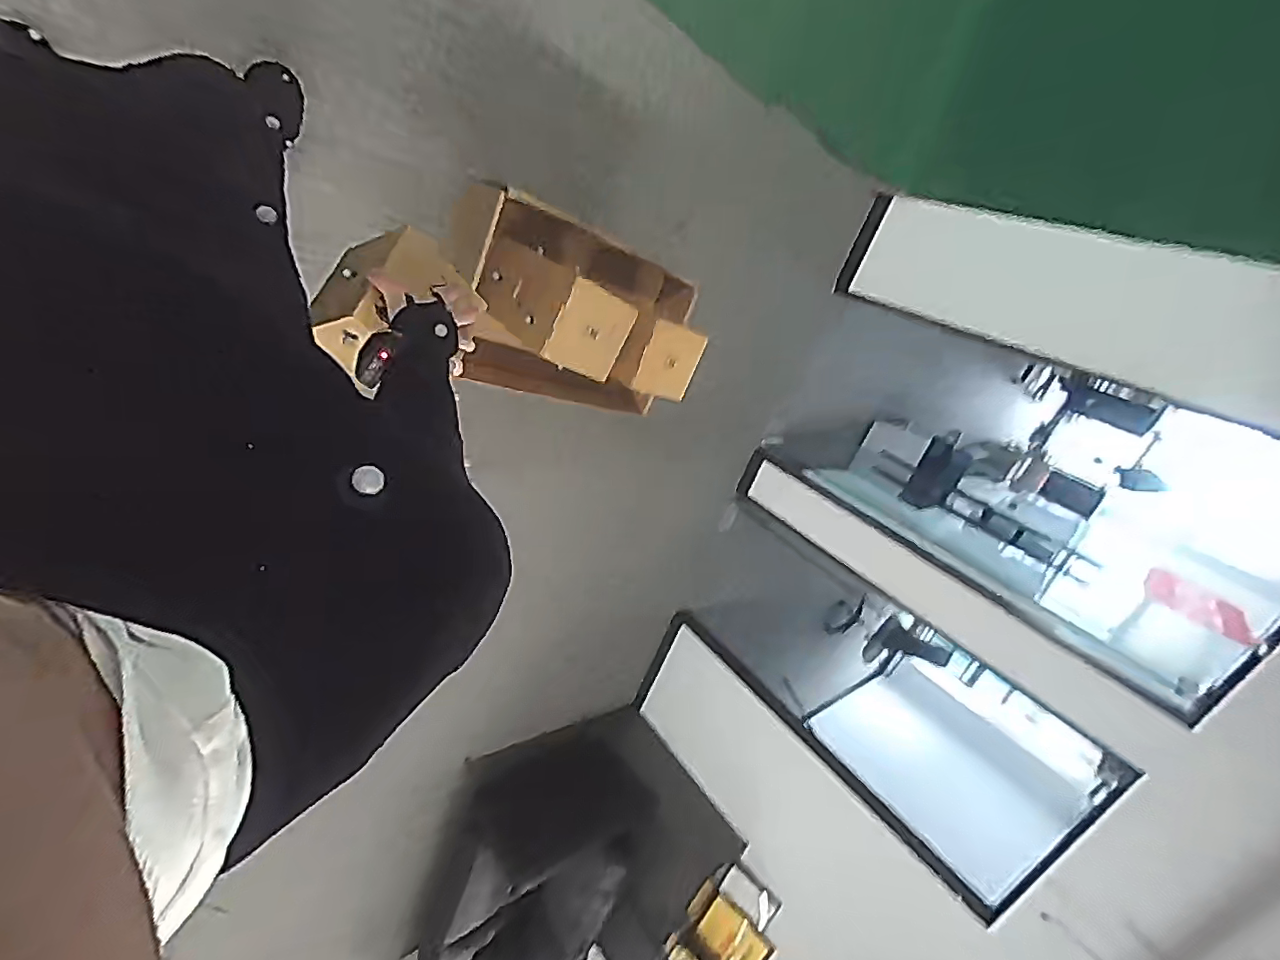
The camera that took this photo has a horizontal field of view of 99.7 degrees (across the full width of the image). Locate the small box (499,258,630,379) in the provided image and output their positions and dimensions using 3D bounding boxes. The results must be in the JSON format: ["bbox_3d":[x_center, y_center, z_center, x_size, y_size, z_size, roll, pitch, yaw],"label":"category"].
[{"bbox_3d":[-0.162,-0.337,1.119,0.179,0.176,0.168,13,111,-50],"label":"small box"}]

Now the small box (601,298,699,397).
[{"bbox_3d":[0.002,-0.319,1.303,0.179,0.176,0.168,5,117,-45],"label":"small box"}]
